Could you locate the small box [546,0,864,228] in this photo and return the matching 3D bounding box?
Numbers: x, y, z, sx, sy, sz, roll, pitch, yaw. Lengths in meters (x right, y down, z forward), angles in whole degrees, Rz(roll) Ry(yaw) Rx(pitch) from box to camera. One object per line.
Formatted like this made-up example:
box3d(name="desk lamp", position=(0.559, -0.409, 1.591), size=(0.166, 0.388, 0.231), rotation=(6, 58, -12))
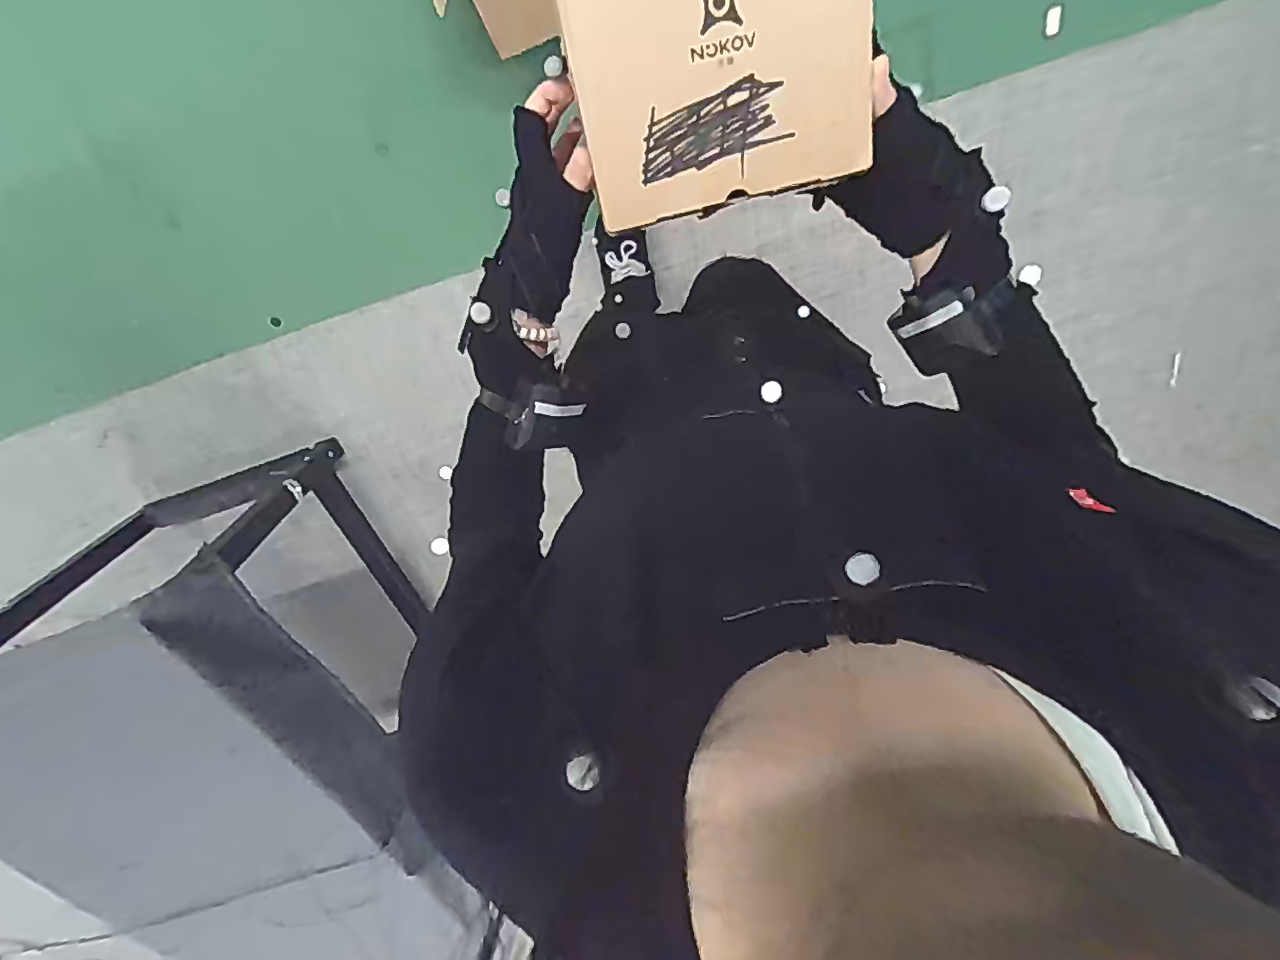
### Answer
box3d(name="small box", position=(0.031, -0.284, 0.351), size=(0.168, 0.176, 0.179), rotation=(-13, 121, 3))
